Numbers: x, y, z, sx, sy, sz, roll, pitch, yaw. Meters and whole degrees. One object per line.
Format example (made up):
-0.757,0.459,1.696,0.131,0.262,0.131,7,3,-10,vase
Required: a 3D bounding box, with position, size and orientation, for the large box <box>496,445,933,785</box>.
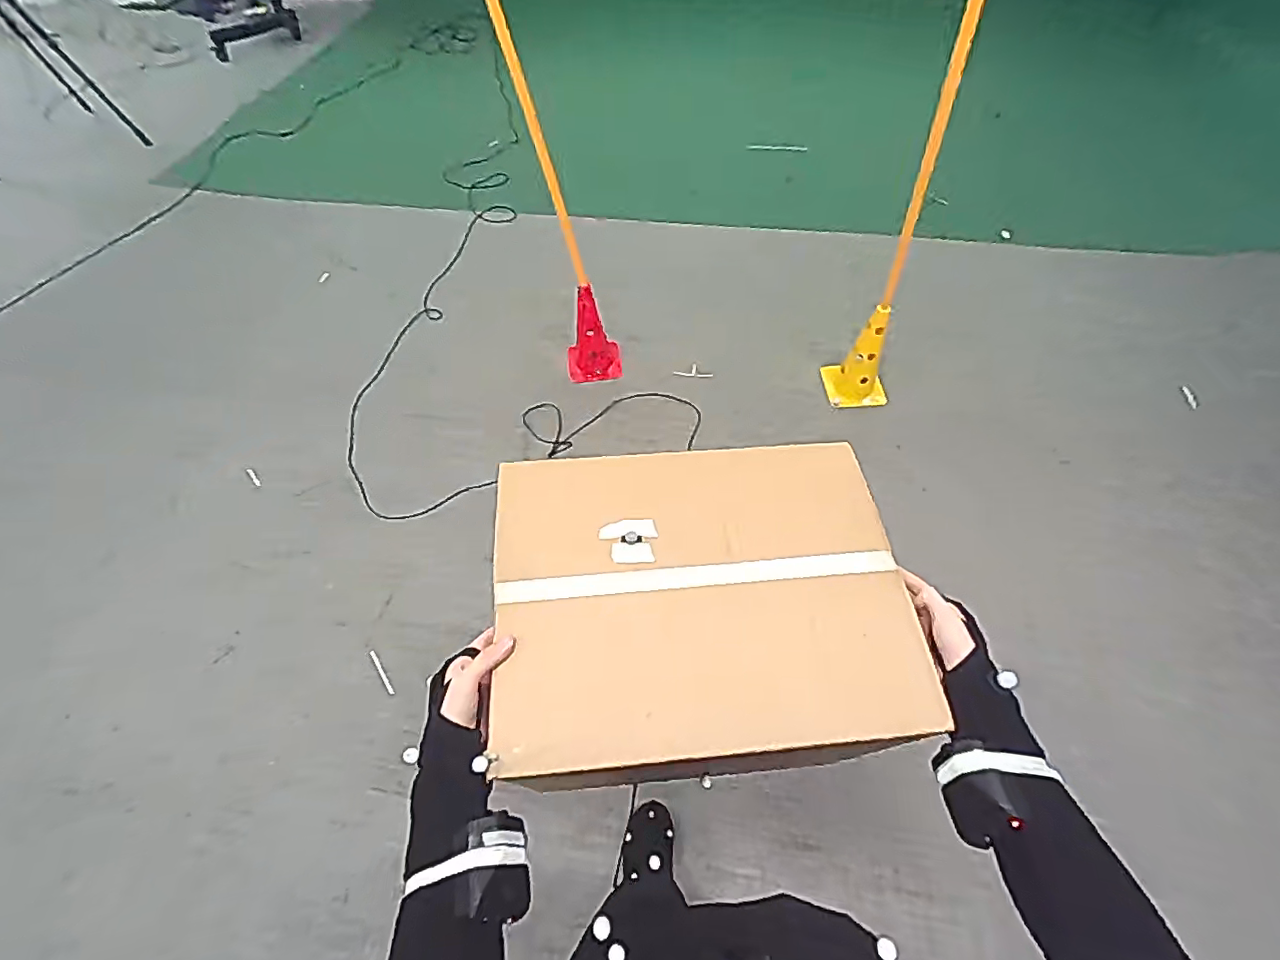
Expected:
0.056,0.182,0.681,0.408,0.320,0.320,-5,58,-4,large box
